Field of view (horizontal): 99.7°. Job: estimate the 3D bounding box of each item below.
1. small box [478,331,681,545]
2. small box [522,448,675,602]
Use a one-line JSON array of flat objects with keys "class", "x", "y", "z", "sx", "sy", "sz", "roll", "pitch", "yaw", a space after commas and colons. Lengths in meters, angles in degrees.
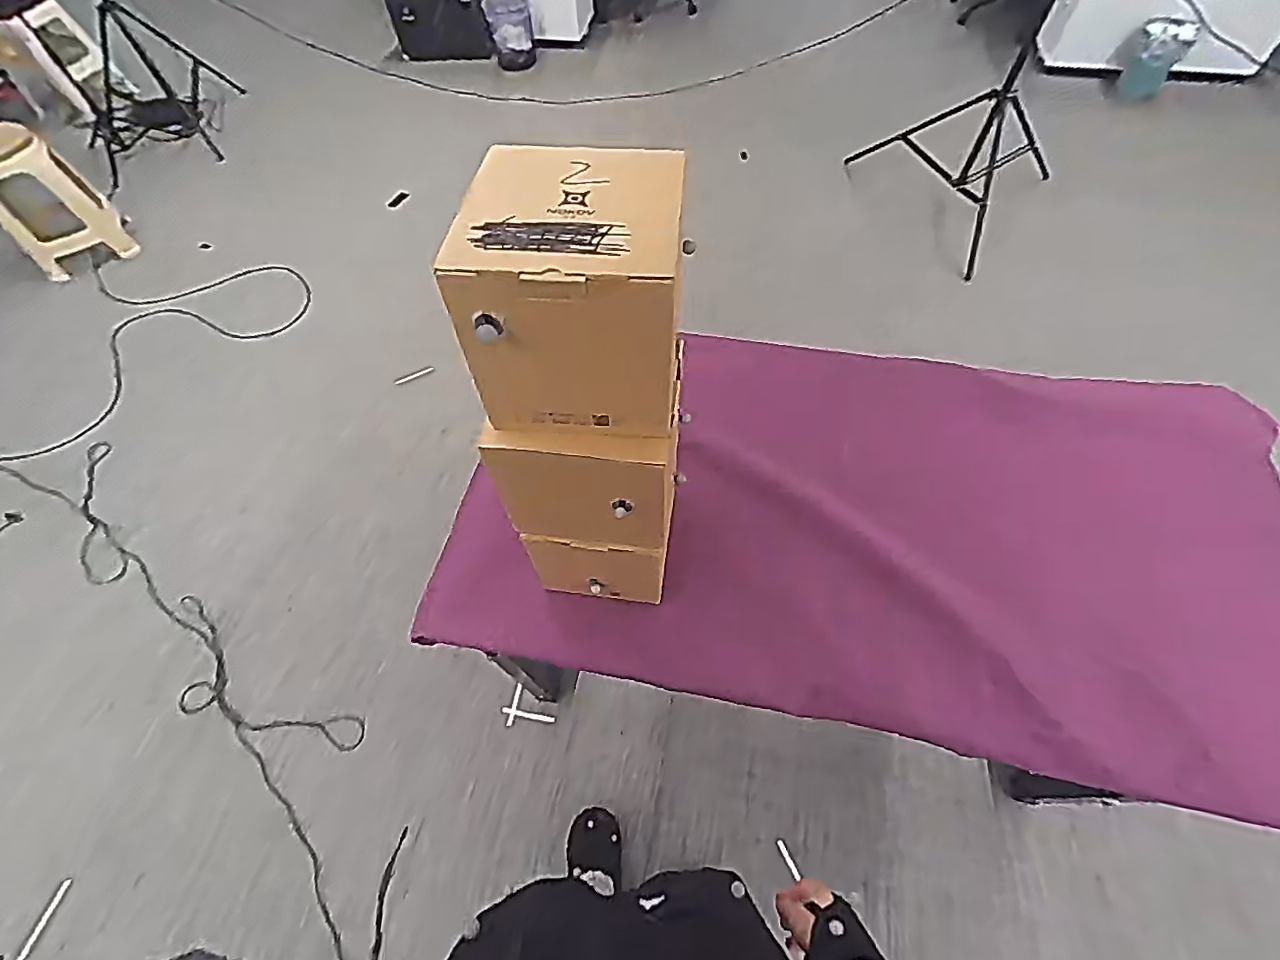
[{"class": "small box", "x": -0.051, "y": -0.041, "z": 0.598, "sx": 0.179, "sy": 0.176, "sz": 0.168, "roll": 5, "pitch": 56, "yaw": 6}, {"class": "small box", "x": -0.046, "y": 0.046, "z": 0.735, "sx": 0.168, "sy": 0.176, "sz": 0.179, "roll": 6, "pitch": 59, "yaw": 6}]
